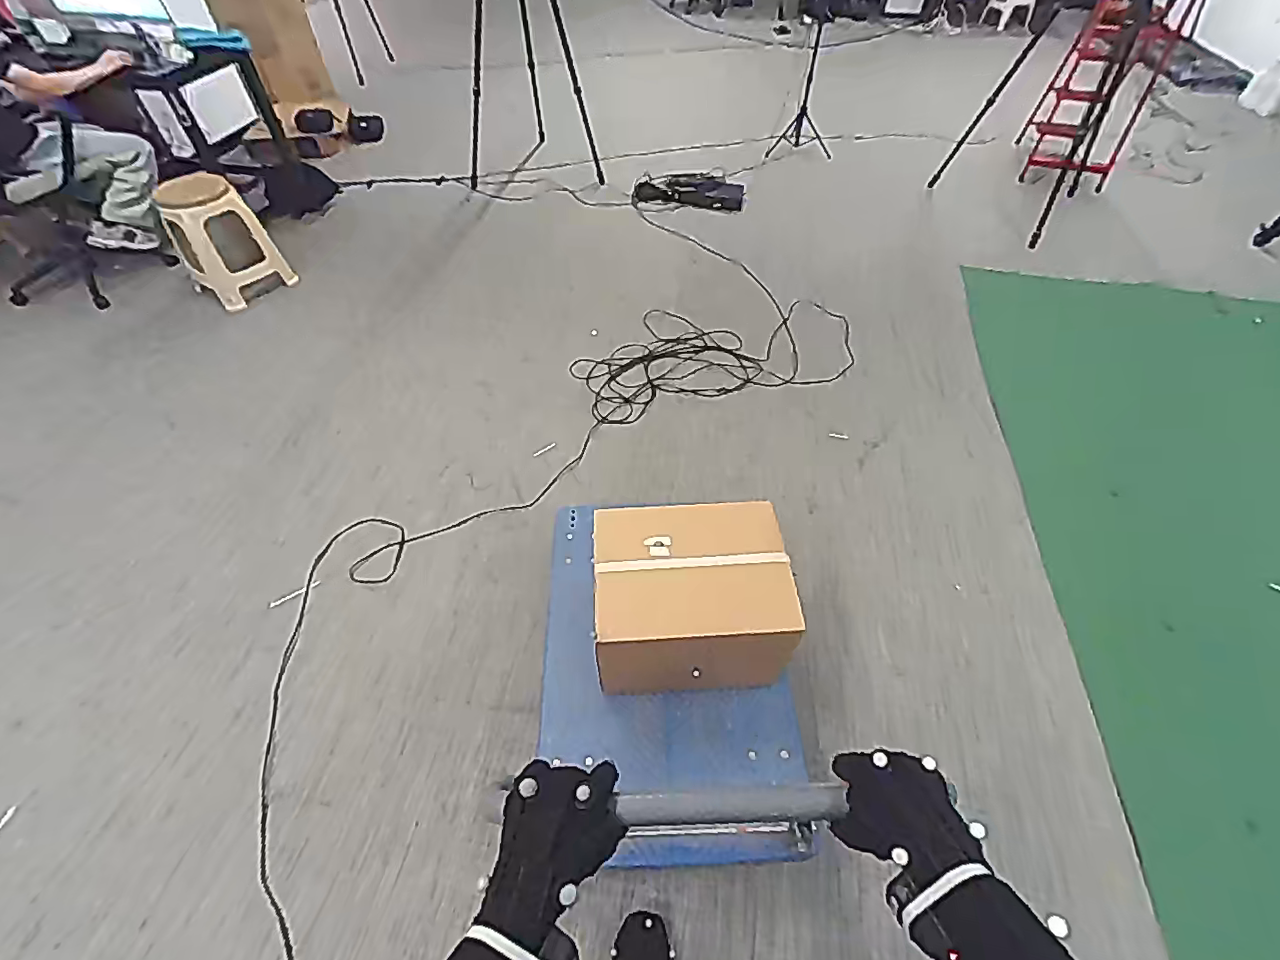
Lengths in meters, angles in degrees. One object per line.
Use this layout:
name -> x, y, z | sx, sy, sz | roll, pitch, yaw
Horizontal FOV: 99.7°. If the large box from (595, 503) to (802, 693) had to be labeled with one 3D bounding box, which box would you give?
large box -> 0.113, 0.279, 1.248 | 0.408, 0.320, 0.320 | -4, 50, -1
